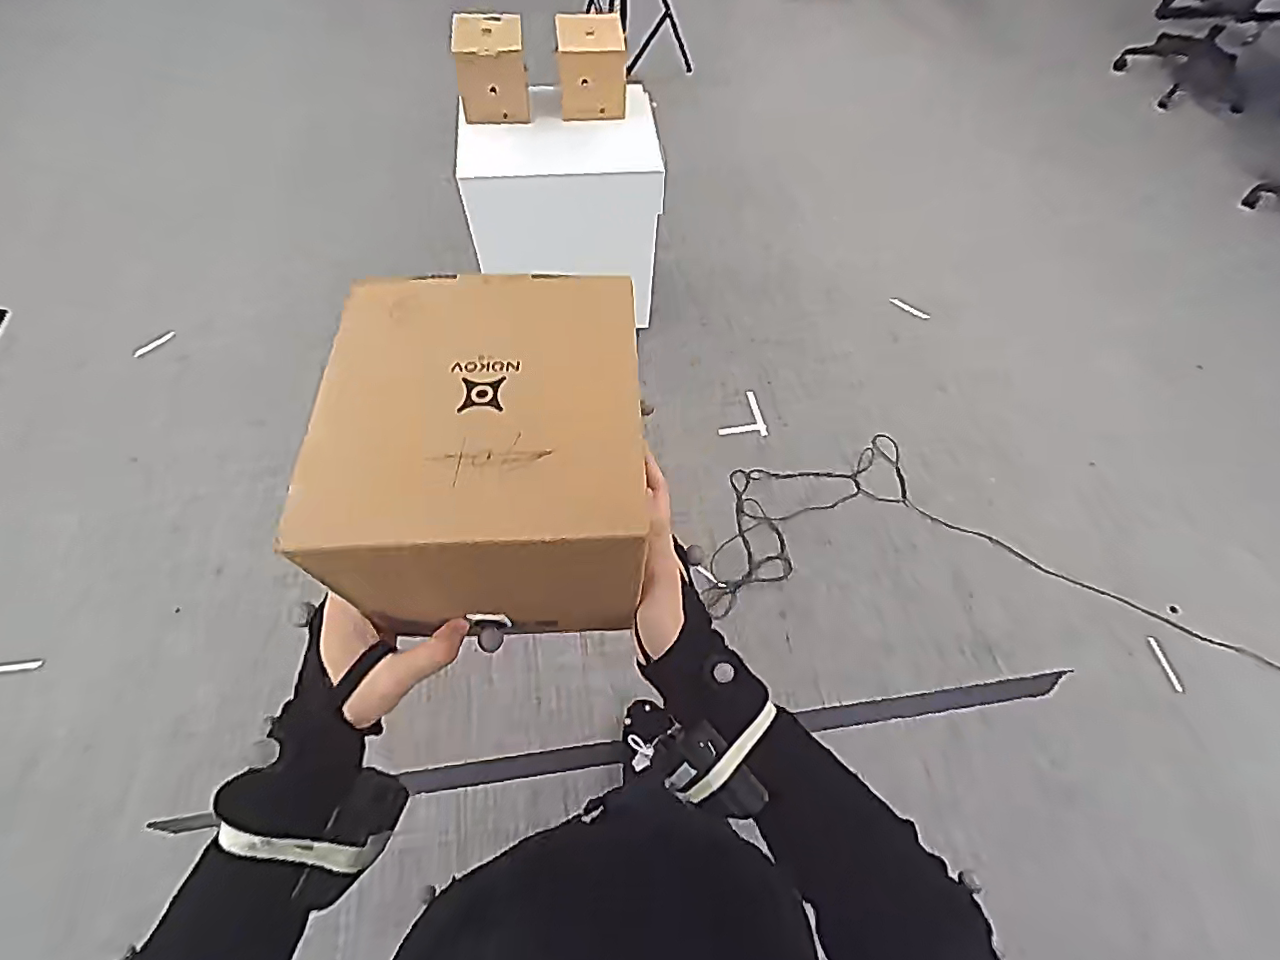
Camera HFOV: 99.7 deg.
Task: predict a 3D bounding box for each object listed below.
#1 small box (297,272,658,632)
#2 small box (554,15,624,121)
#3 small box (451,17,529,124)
[{"bbox_3d":[-0.081,-0.011,0.355,0.168,0.176,0.179,-3,61,-4],"label":"small box"},{"bbox_3d":[-0.131,-1.071,1.413,0.168,0.176,0.179,-5,63,-5],"label":"small box"},{"bbox_3d":[-0.379,-1.044,1.386,0.168,0.176,0.179,-5,65,-7],"label":"small box"}]
